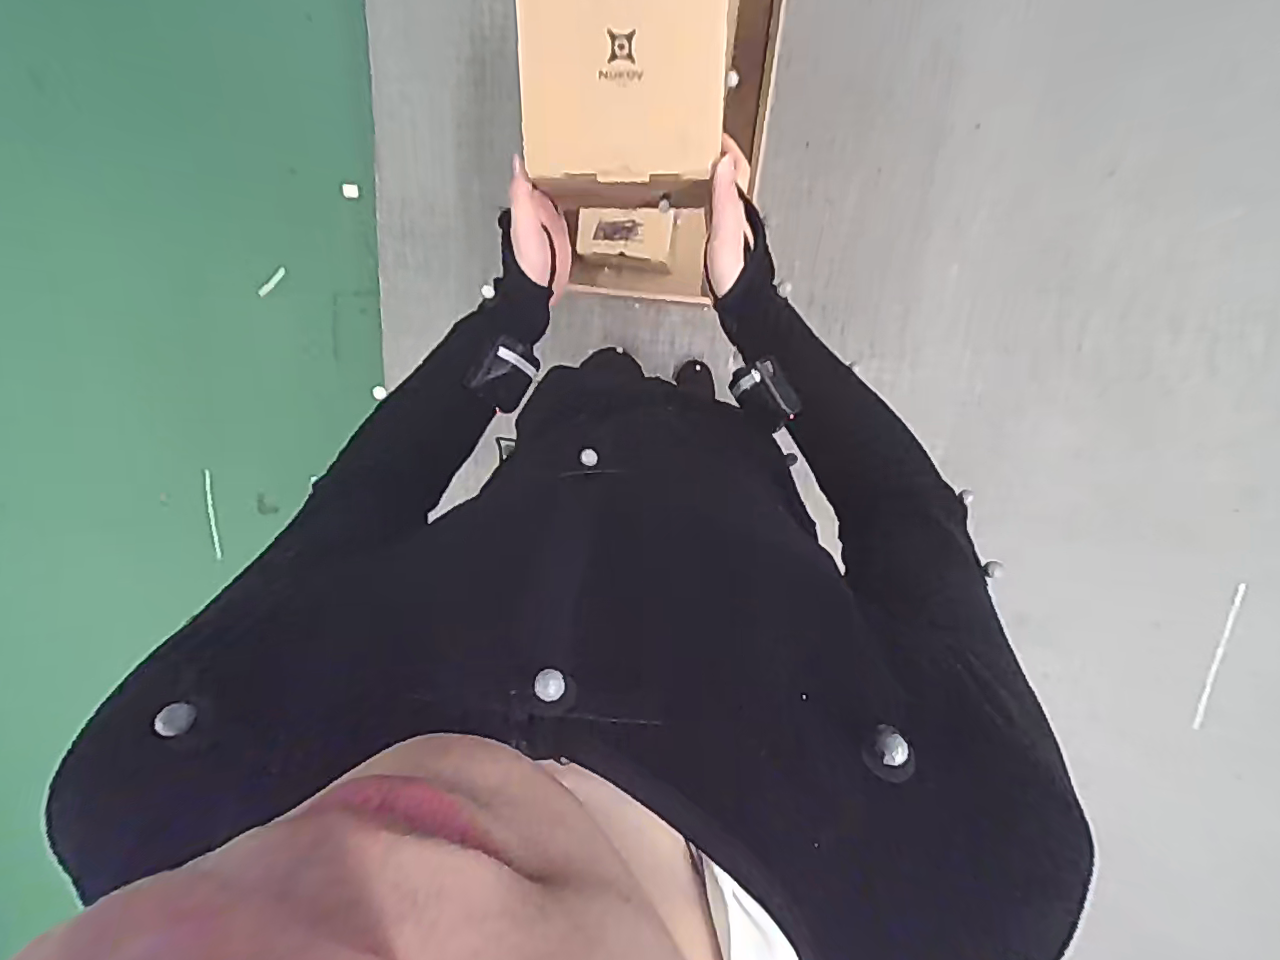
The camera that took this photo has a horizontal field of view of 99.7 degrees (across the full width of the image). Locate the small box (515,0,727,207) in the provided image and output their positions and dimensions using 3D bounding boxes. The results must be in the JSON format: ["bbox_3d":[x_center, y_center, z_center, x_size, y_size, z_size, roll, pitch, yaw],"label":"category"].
[{"bbox_3d":[-0.013,-0.359,0.501,0.168,0.176,0.179,1,108,1],"label":"small box"}]

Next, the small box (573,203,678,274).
[{"bbox_3d":[-0.019,-0.489,1.001,0.168,0.176,0.179,8,103,4],"label":"small box"}]
